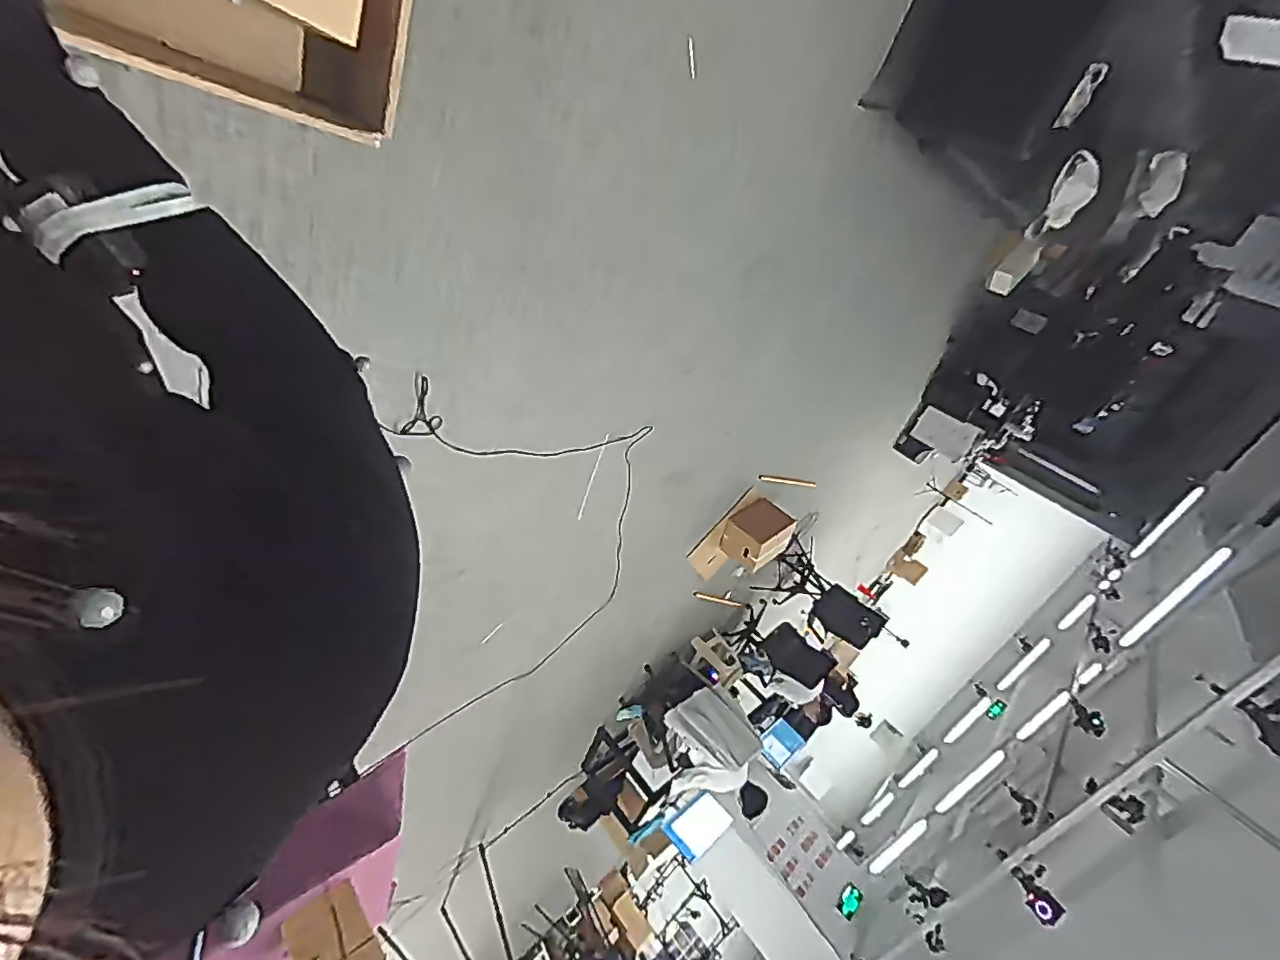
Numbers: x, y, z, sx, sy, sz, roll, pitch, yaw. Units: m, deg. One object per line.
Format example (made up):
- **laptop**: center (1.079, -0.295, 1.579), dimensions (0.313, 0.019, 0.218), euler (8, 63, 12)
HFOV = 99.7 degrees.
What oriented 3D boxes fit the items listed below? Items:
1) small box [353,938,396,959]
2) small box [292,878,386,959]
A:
- **small box**: center (-0.699, 1.321, 1.370), dimensions (0.168, 0.176, 0.179), euler (-15, 135, -41)
- **small box**: center (-0.806, 1.226, 1.451), dimensions (0.179, 0.176, 0.168), euler (-15, 135, -42)
